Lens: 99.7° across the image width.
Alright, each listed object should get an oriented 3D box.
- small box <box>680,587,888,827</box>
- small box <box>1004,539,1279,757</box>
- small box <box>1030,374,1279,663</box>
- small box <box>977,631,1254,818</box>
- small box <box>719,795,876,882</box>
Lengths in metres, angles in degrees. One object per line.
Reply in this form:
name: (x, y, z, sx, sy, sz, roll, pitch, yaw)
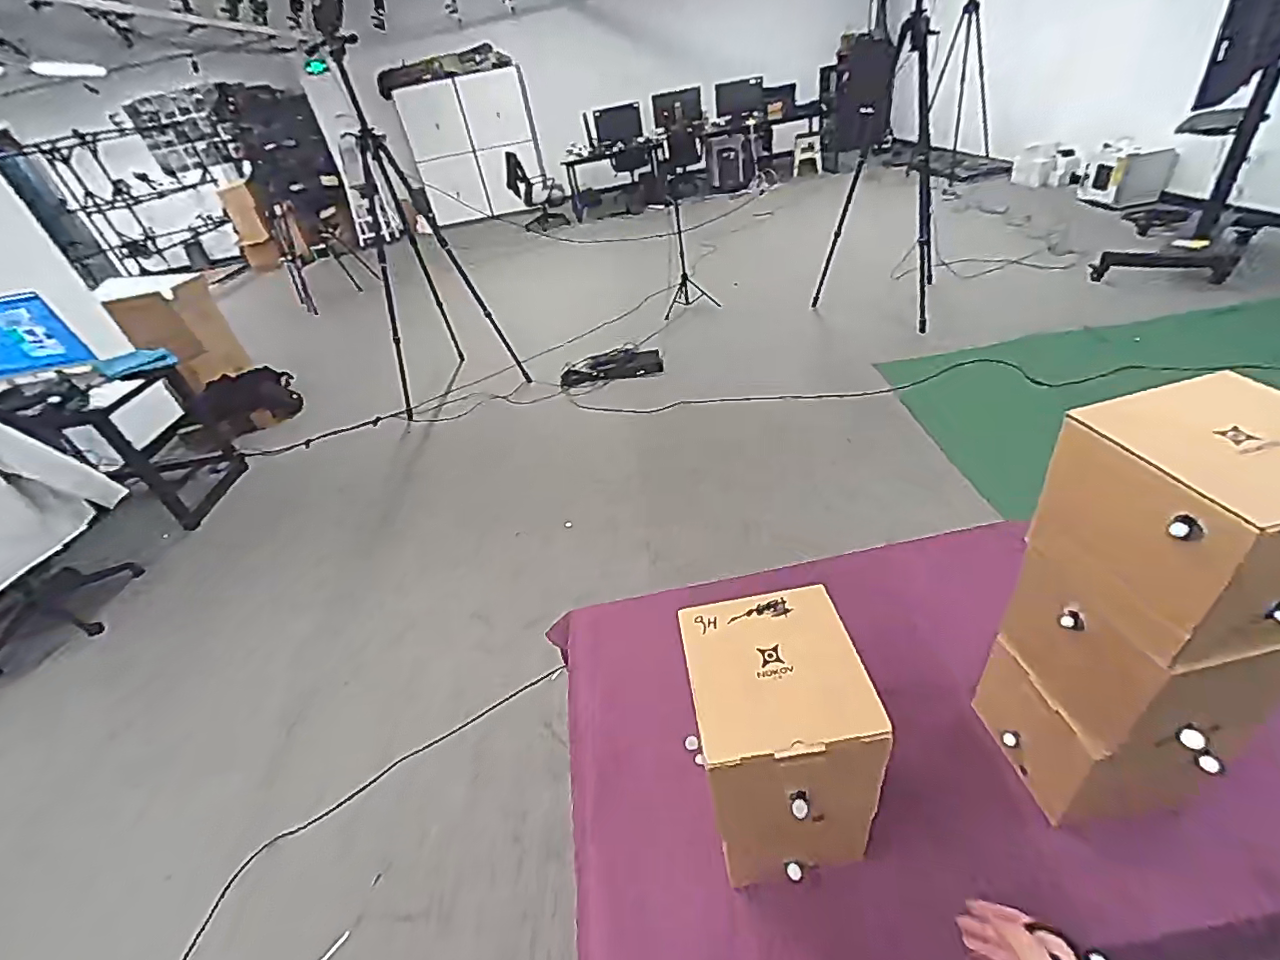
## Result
small box: (0.144, 0.247, 0.581, 0.168, 0.176, 0.179, -10, 37, 2)
small box: (0.536, 0.161, 0.582, 0.168, 0.176, 0.179, -13, 37, 0)
small box: (0.504, 0.031, 0.490, 0.168, 0.176, 0.179, -15, 37, -2)
small box: (0.565, 0.290, 0.677, 0.179, 0.176, 0.168, -12, 36, 0)
small box: (0.175, 0.370, 0.685, 0.168, 0.176, 0.179, -11, 38, 2)
